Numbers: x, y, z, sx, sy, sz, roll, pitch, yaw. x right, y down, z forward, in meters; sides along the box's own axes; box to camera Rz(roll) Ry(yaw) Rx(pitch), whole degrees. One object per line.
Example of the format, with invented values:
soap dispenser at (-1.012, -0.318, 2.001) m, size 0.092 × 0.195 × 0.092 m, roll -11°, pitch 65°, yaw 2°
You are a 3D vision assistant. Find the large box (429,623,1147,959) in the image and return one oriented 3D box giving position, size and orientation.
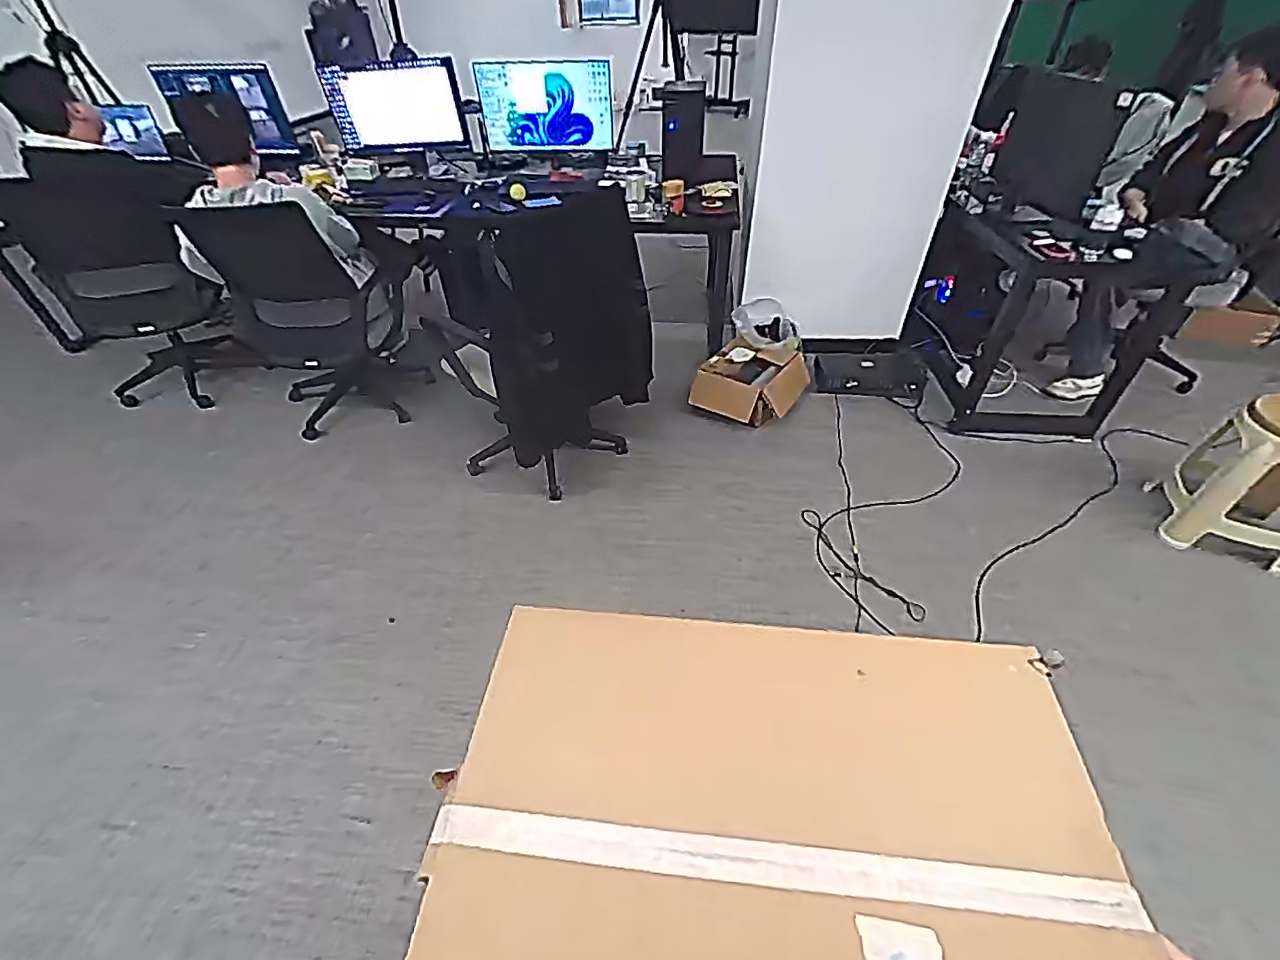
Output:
large box at (0.085, 0.340, 0.436) m, size 0.408 × 0.320 × 0.320 m, roll 3°, pitch 48°, yaw 5°
